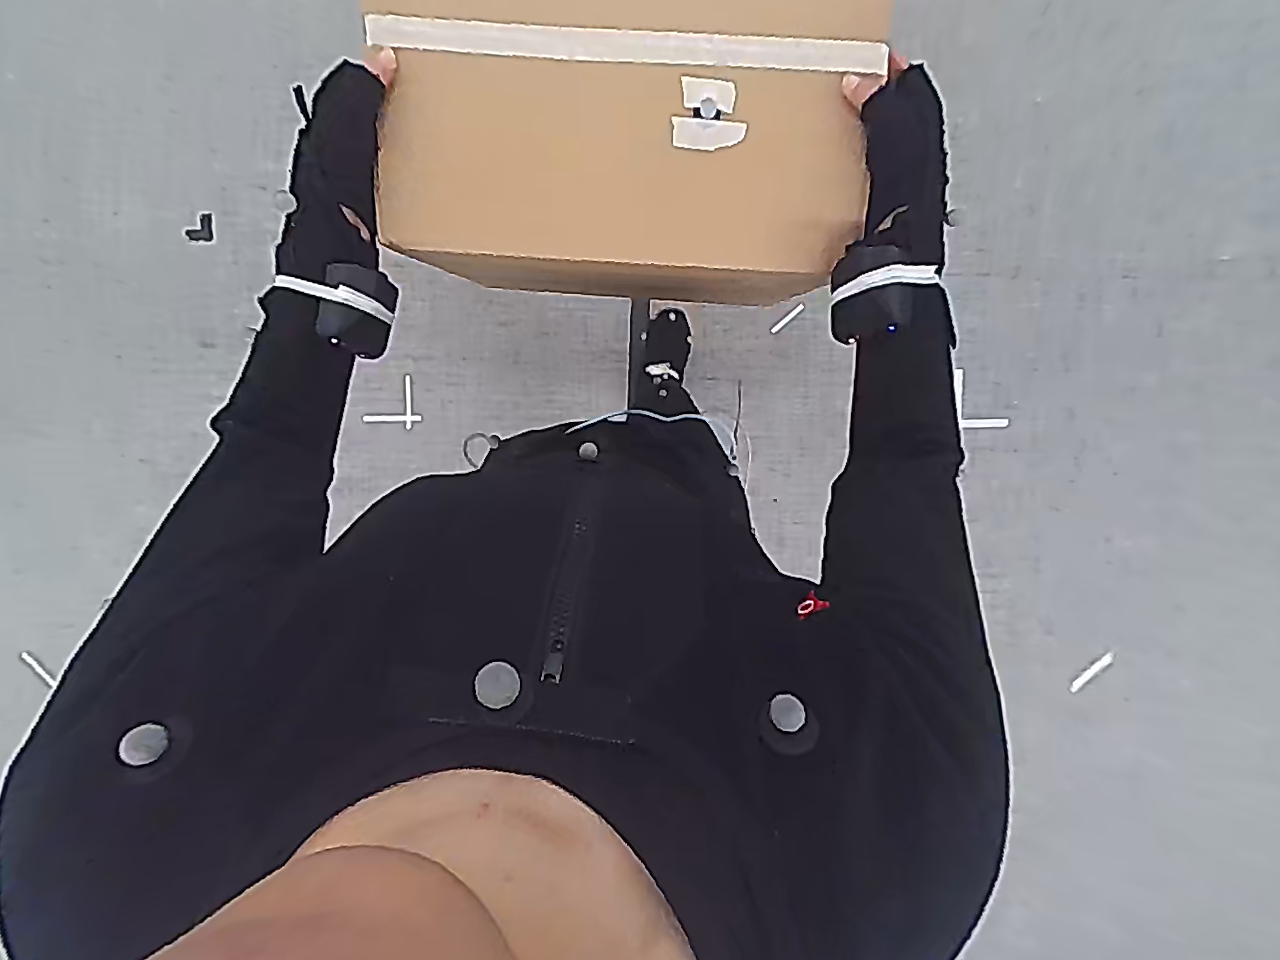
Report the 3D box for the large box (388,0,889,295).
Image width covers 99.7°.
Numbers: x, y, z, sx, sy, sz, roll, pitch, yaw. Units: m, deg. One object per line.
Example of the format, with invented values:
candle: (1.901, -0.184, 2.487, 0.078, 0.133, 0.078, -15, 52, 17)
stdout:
large box: (-0.005, -0.381, 0.579, 0.408, 0.320, 0.320, 4, 105, -1)
